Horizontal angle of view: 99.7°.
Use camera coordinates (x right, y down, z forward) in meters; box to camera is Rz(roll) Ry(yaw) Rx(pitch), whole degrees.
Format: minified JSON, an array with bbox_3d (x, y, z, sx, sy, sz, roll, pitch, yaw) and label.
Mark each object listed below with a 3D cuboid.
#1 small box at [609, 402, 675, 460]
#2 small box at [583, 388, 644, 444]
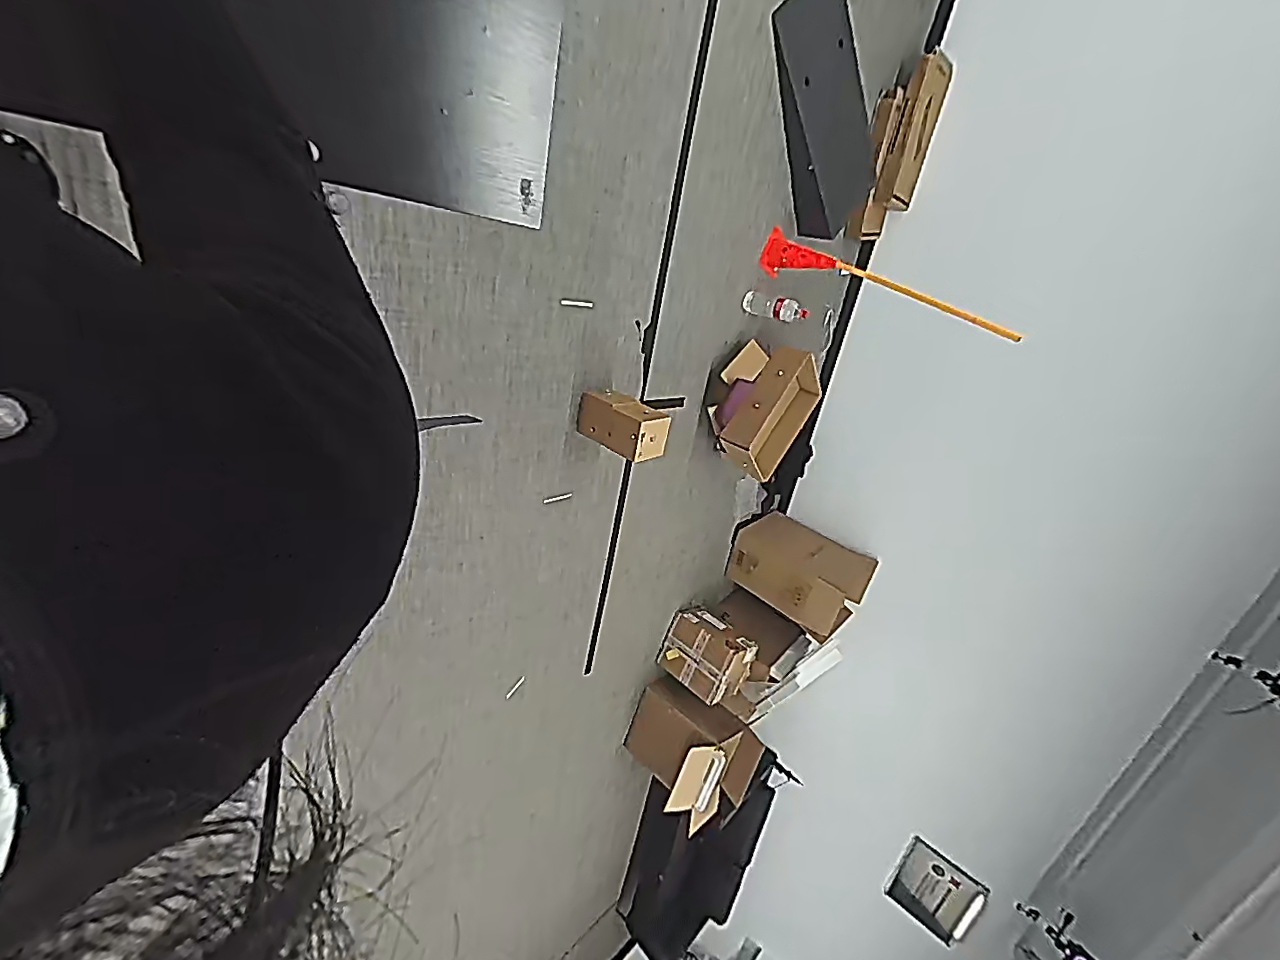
[{"bbox_3d":[0.005,-0.195,2.083,0.179,0.176,0.168,-18,127,-46],"label":"small box"},{"bbox_3d":[-0.112,-0.261,2.176,0.168,0.176,0.179,-16,124,-47],"label":"small box"}]
